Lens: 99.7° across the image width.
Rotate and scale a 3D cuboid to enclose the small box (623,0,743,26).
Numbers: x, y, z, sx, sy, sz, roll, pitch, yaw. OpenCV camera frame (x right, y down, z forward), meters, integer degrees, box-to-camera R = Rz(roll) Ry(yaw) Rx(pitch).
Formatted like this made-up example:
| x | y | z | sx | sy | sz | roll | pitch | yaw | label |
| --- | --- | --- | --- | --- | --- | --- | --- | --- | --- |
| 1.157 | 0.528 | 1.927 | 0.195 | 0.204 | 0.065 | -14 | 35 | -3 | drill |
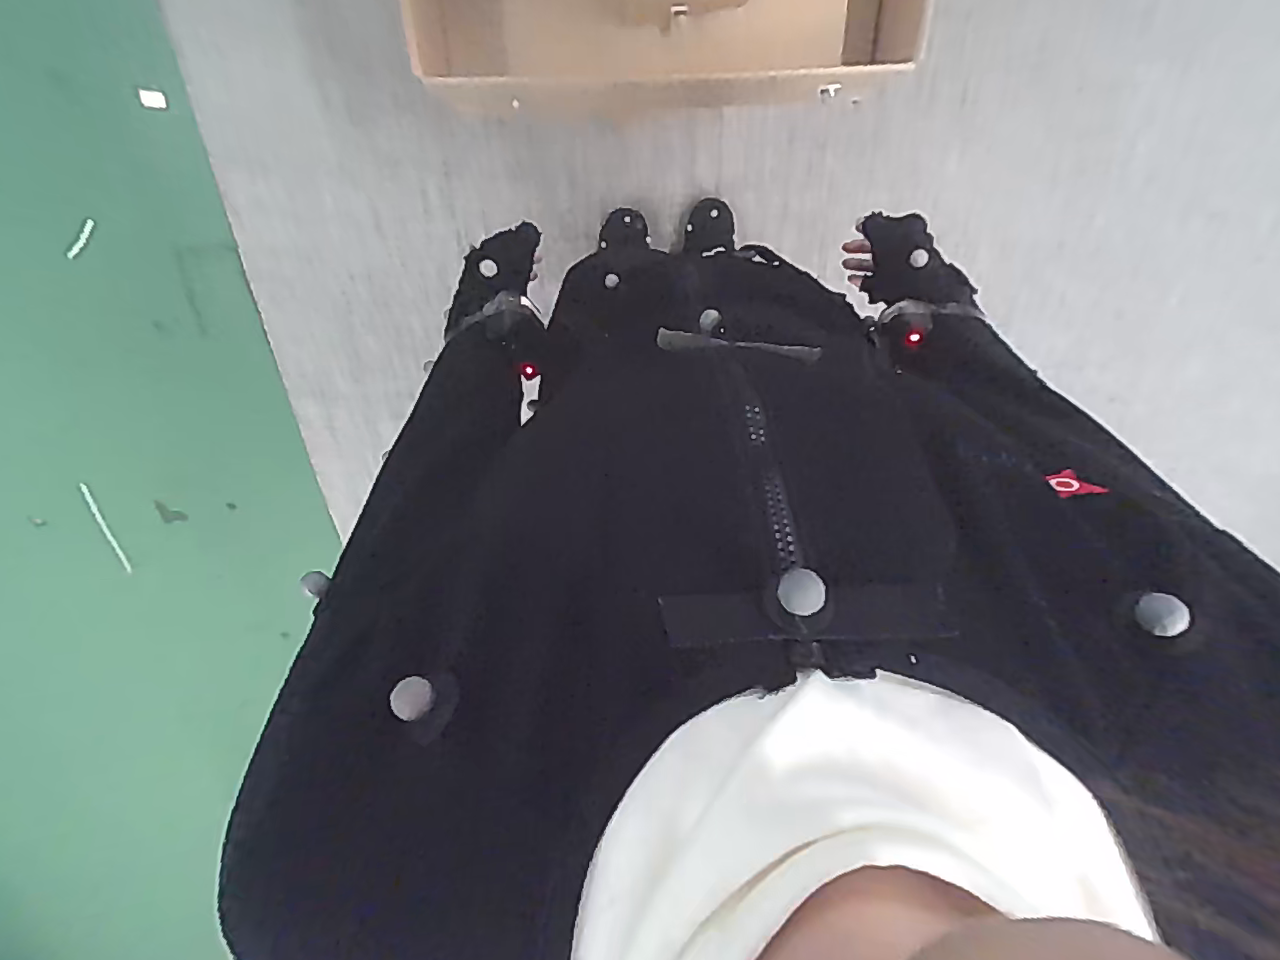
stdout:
| x | y | z | sx | sy | sz | roll | pitch | yaw | label |
| --- | --- | --- | --- | --- | --- | --- | --- | --- | --- |
| 0.049 | -0.670 | 0.627 | 0.168 | 0.176 | 0.179 | -7 | 118 | 5 | small box |
